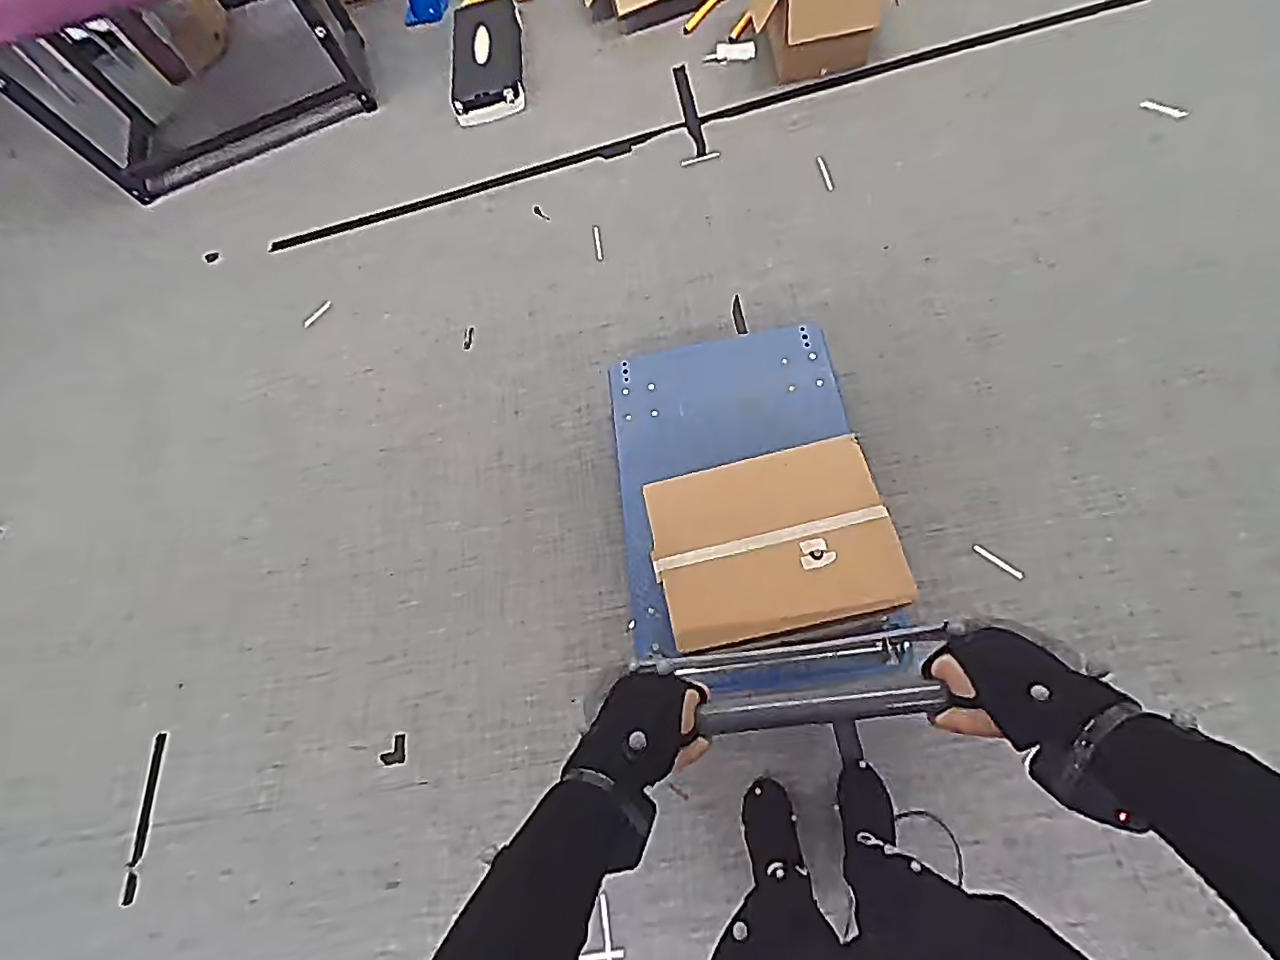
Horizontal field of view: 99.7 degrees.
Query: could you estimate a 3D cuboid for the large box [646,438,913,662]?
[{"bbox_3d":[0.254,0.163,1.098,0.408,0.320,0.320,-14,68,4],"label":"large box"}]
